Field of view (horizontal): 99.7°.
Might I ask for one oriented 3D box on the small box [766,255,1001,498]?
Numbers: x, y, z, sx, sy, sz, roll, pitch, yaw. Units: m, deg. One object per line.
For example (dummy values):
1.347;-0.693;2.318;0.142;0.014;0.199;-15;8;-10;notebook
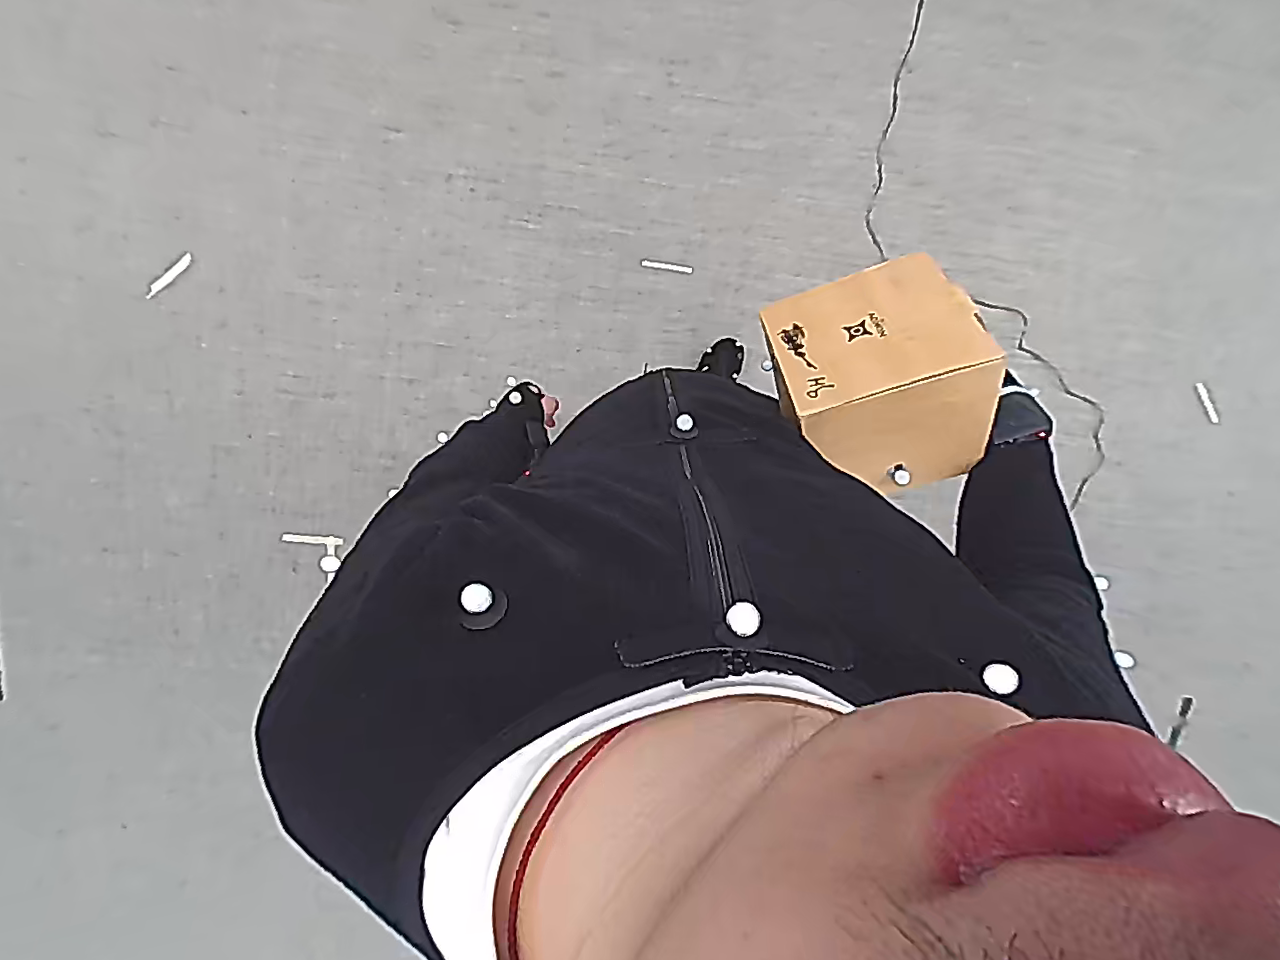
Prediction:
0.251;-0.105;0.594;0.179;0.168;0.176;-16;141;12;small box
